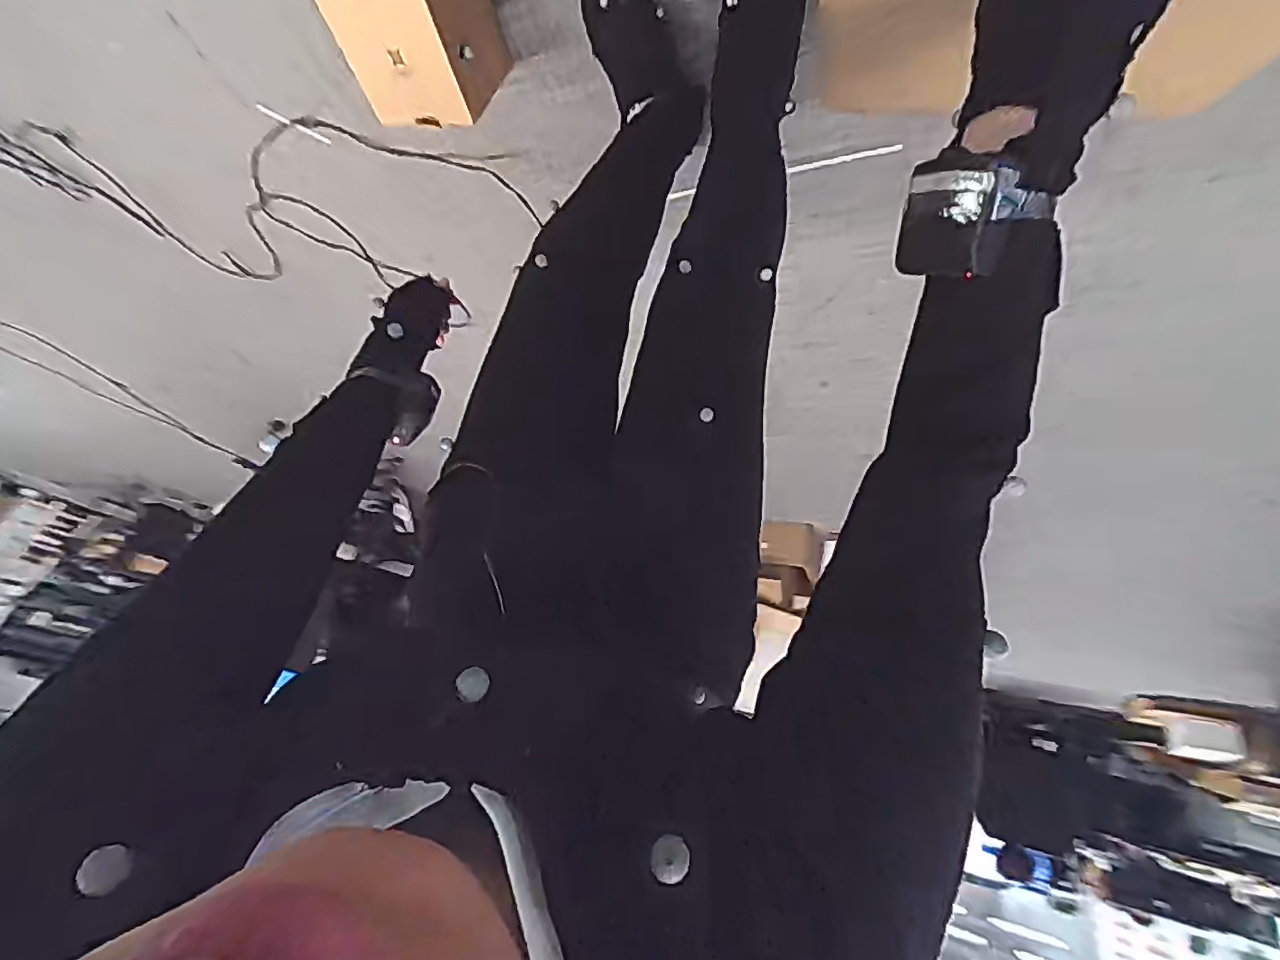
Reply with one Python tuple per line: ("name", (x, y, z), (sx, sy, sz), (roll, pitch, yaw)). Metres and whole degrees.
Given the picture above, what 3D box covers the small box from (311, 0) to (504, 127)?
("small box", (-0.325, -0.657, 0.793), (0.168, 0.176, 0.179), (8, 155, 14))
